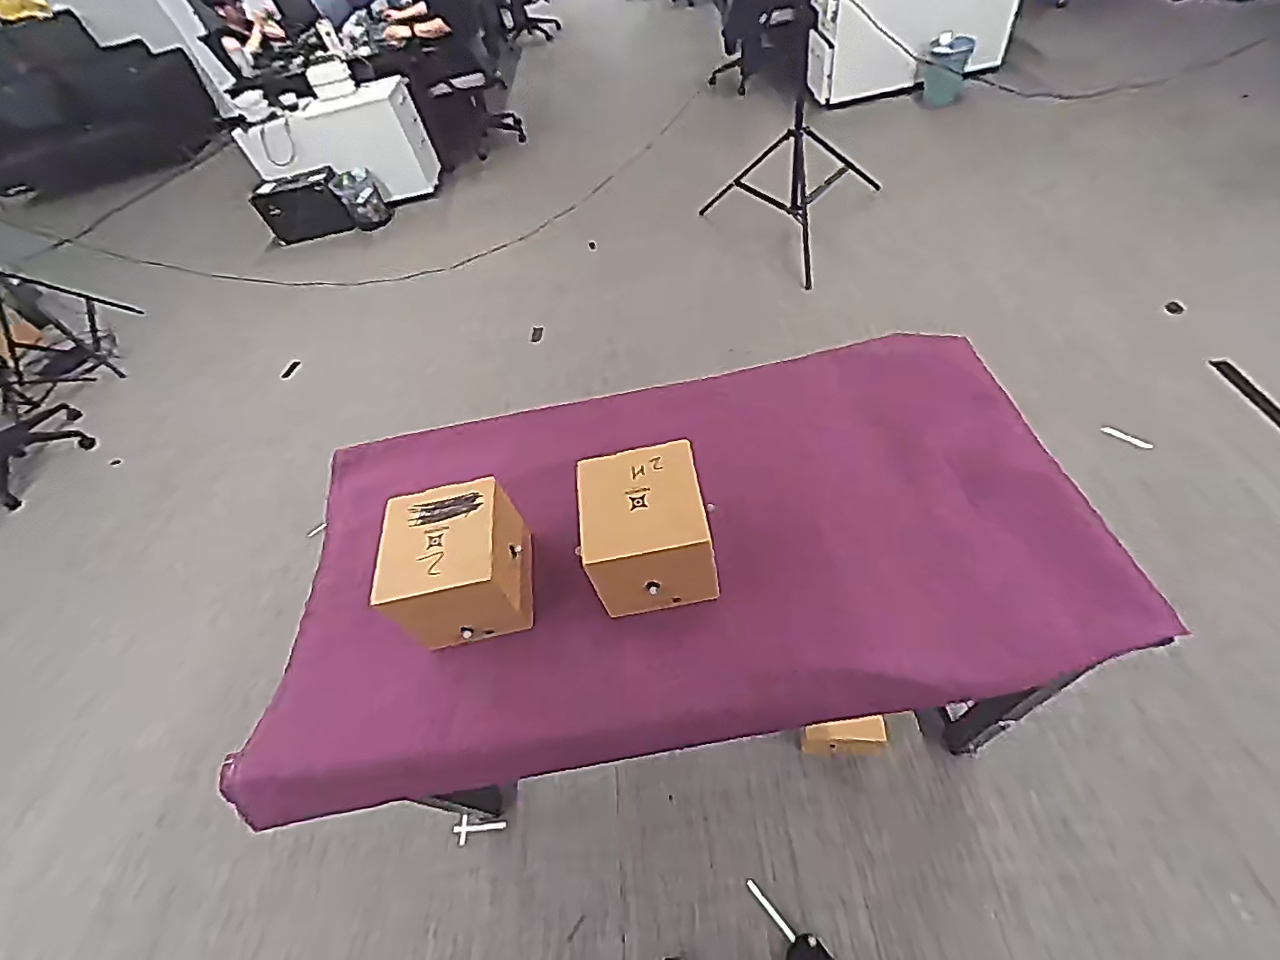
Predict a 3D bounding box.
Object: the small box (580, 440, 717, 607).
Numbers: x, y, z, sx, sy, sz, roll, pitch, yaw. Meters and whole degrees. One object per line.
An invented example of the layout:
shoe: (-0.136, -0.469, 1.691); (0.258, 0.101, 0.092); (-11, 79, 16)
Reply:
small box: (0.014, 0.072, 0.791); (0.168, 0.176, 0.179); (-11, 51, 4)

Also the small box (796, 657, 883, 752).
small box: (0.461, 0.531, 1.273); (0.168, 0.176, 0.179); (-3, 52, 11)
